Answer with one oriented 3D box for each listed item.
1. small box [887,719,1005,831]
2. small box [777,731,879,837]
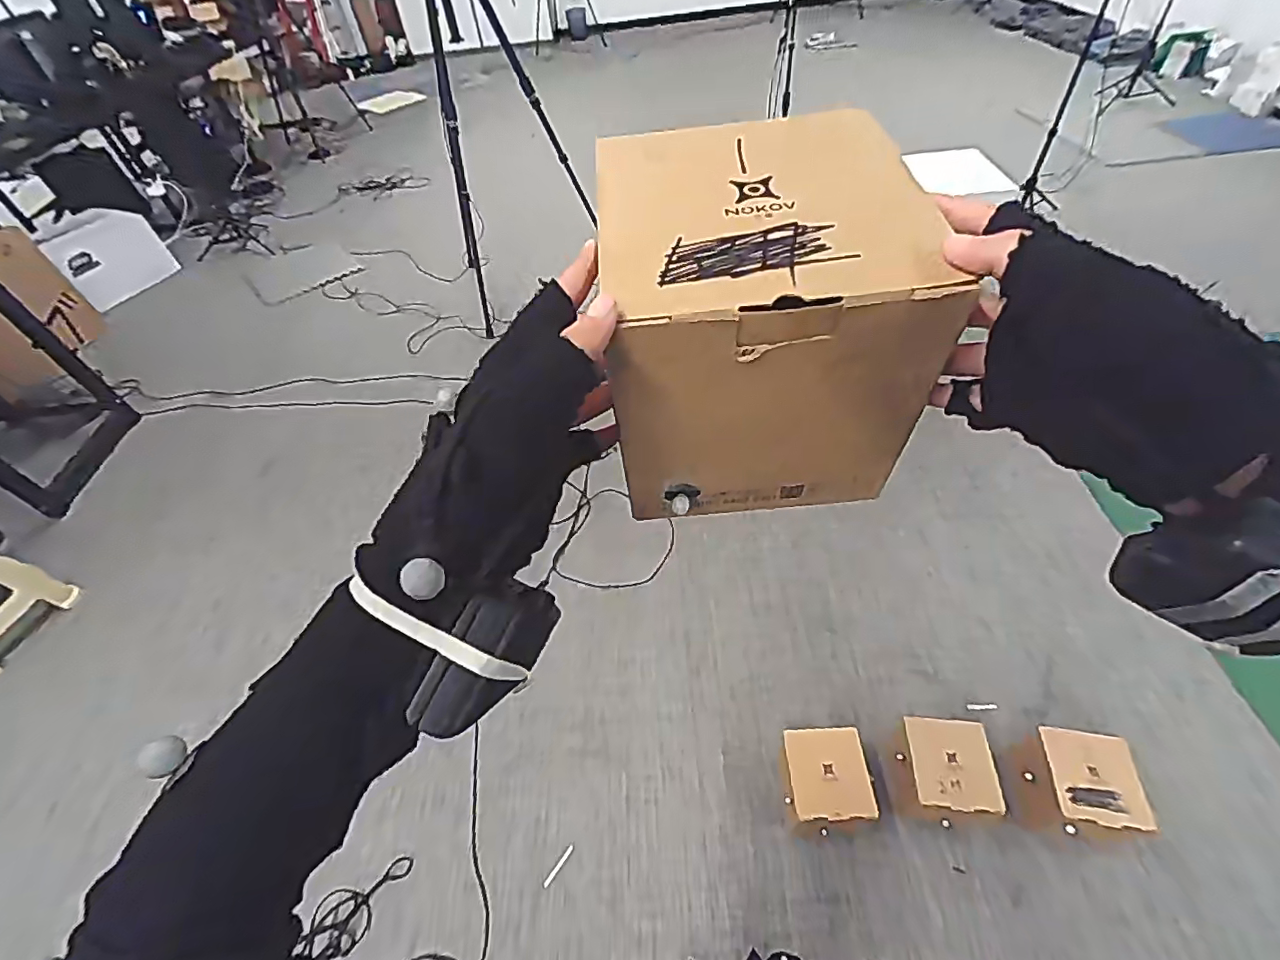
[{"bbox_3d":[0.662,0.653,1.194,0.168,0.176,0.179,1,50,9],"label":"small box"},{"bbox_3d":[0.407,0.678,1.206,0.168,0.176,0.179,-4,49,4],"label":"small box"}]
